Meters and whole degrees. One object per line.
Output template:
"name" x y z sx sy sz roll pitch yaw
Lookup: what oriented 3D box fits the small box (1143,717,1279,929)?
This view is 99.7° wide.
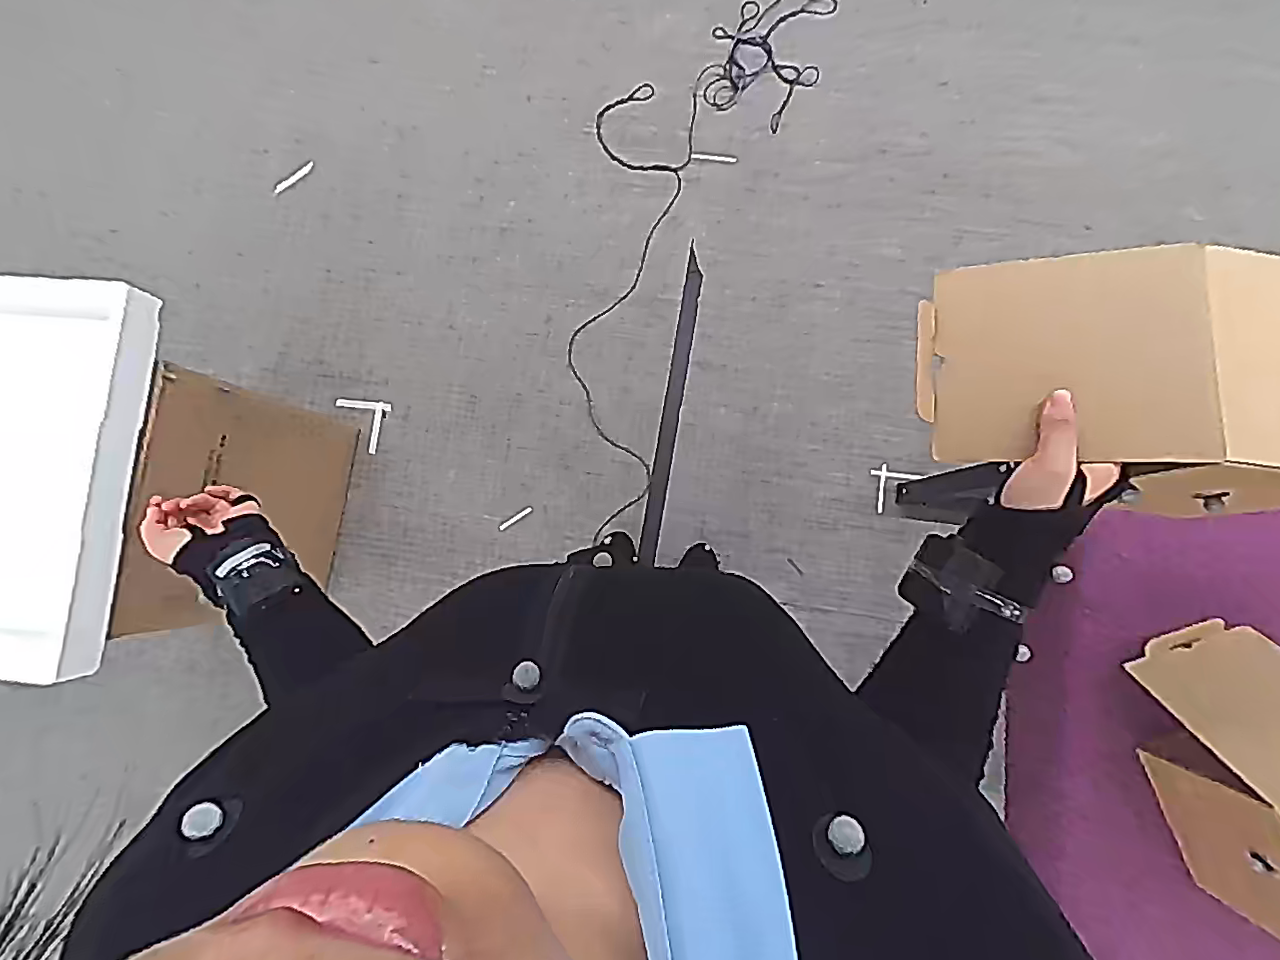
"small box" 0.734 0.387 0.605 0.168 0.176 0.179 -19 83 2
